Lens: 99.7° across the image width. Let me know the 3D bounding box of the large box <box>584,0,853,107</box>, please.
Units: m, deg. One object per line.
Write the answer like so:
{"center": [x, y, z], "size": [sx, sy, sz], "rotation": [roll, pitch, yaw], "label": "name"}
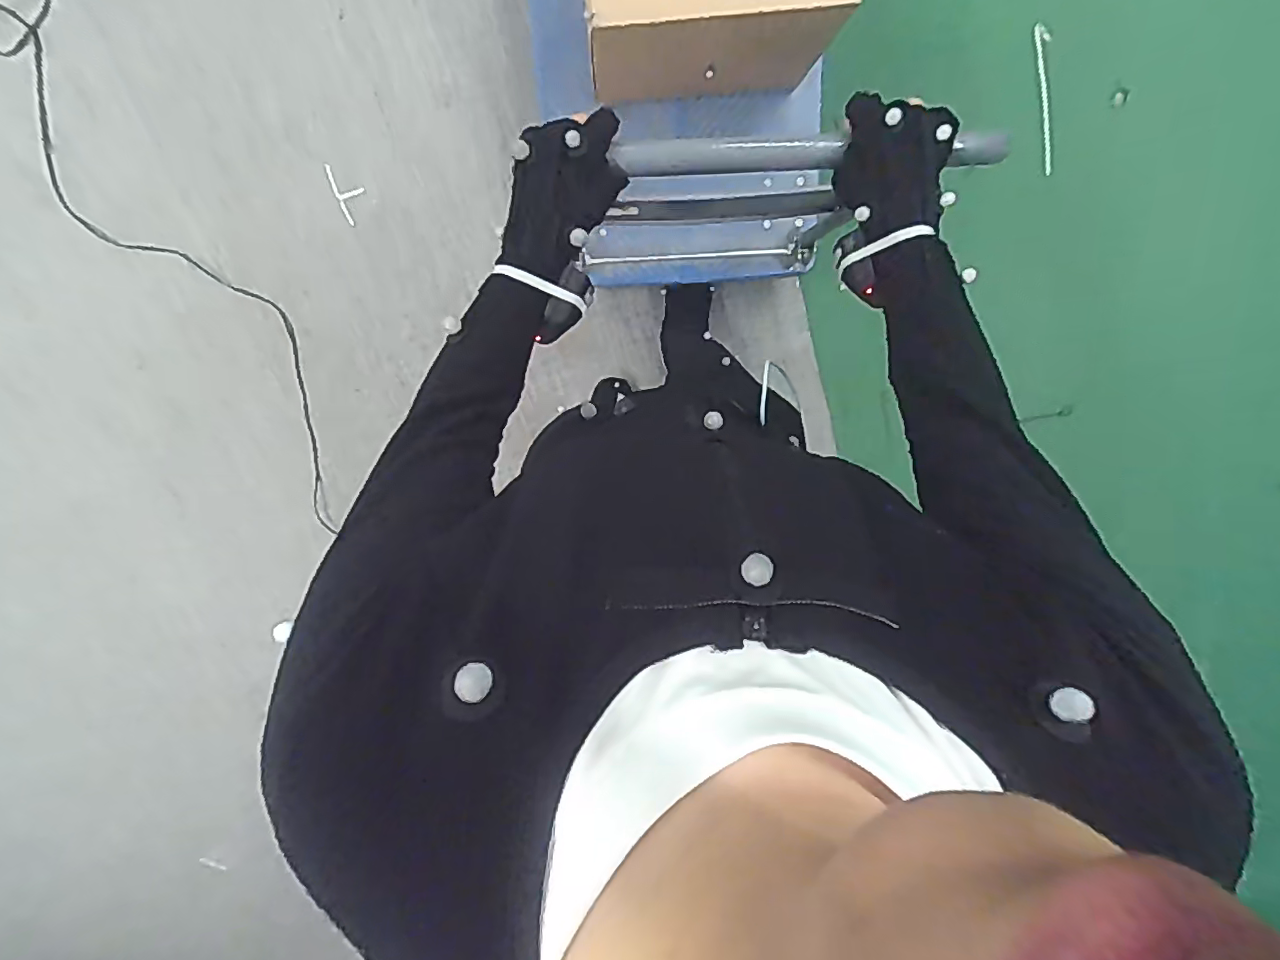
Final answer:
{"center": [0.103, -0.872, 0.906], "size": [0.408, 0.320, 0.320], "rotation": [-6, 106, -1], "label": "large box"}
